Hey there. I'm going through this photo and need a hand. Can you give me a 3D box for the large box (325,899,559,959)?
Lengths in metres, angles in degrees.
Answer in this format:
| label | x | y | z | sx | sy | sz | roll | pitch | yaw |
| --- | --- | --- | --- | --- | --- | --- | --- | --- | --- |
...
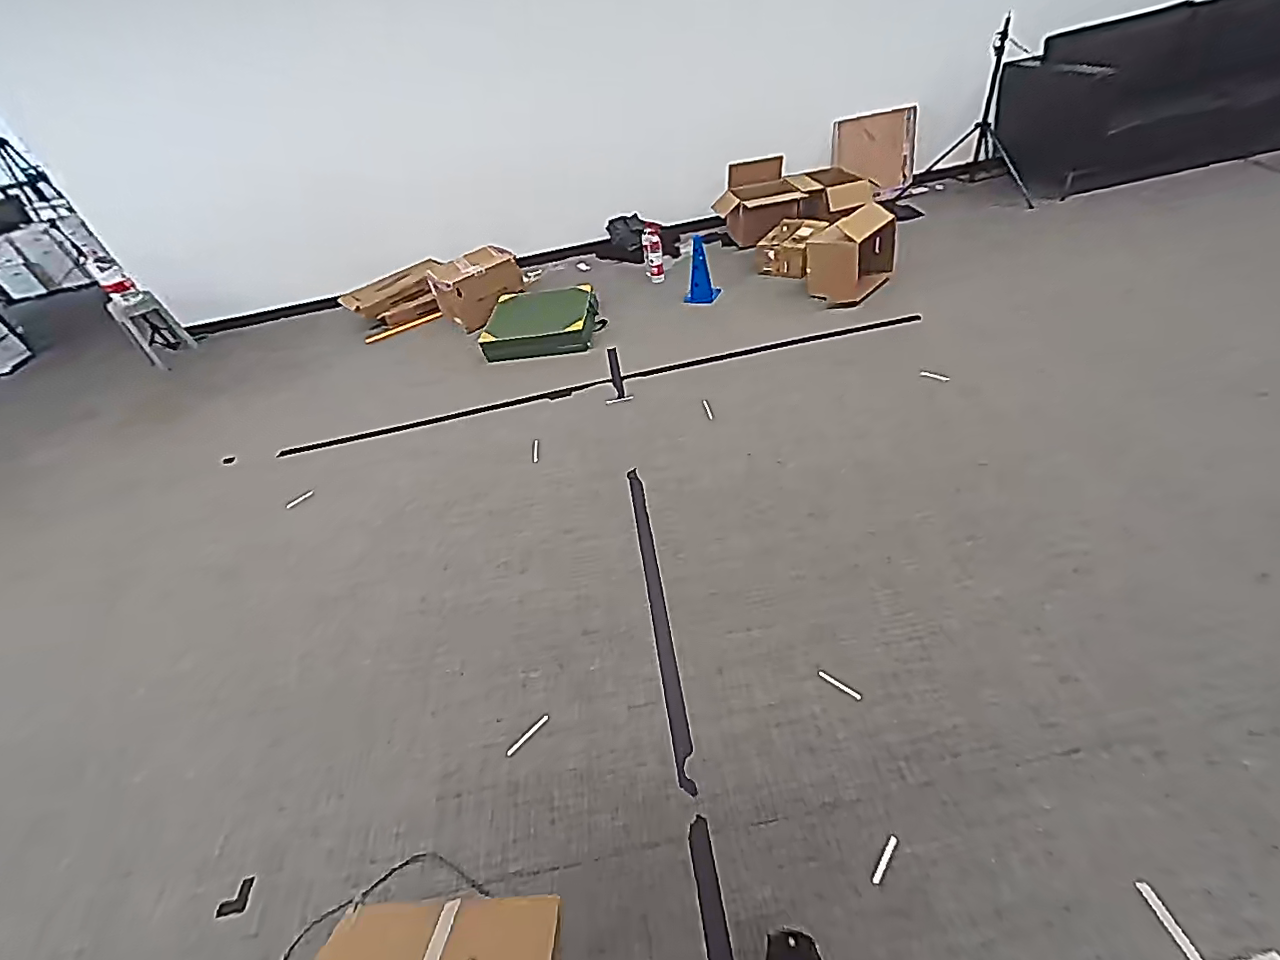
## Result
| label | x | y | z | sx | sy | sz | roll | pitch | yaw |
| --- | --- | --- | --- | --- | --- | --- | --- | --- | --- |
| large box | -0.265 | 0.793 | 0.617 | 0.320 | 0.320 | 0.408 | -1 | 2 | -1 |
